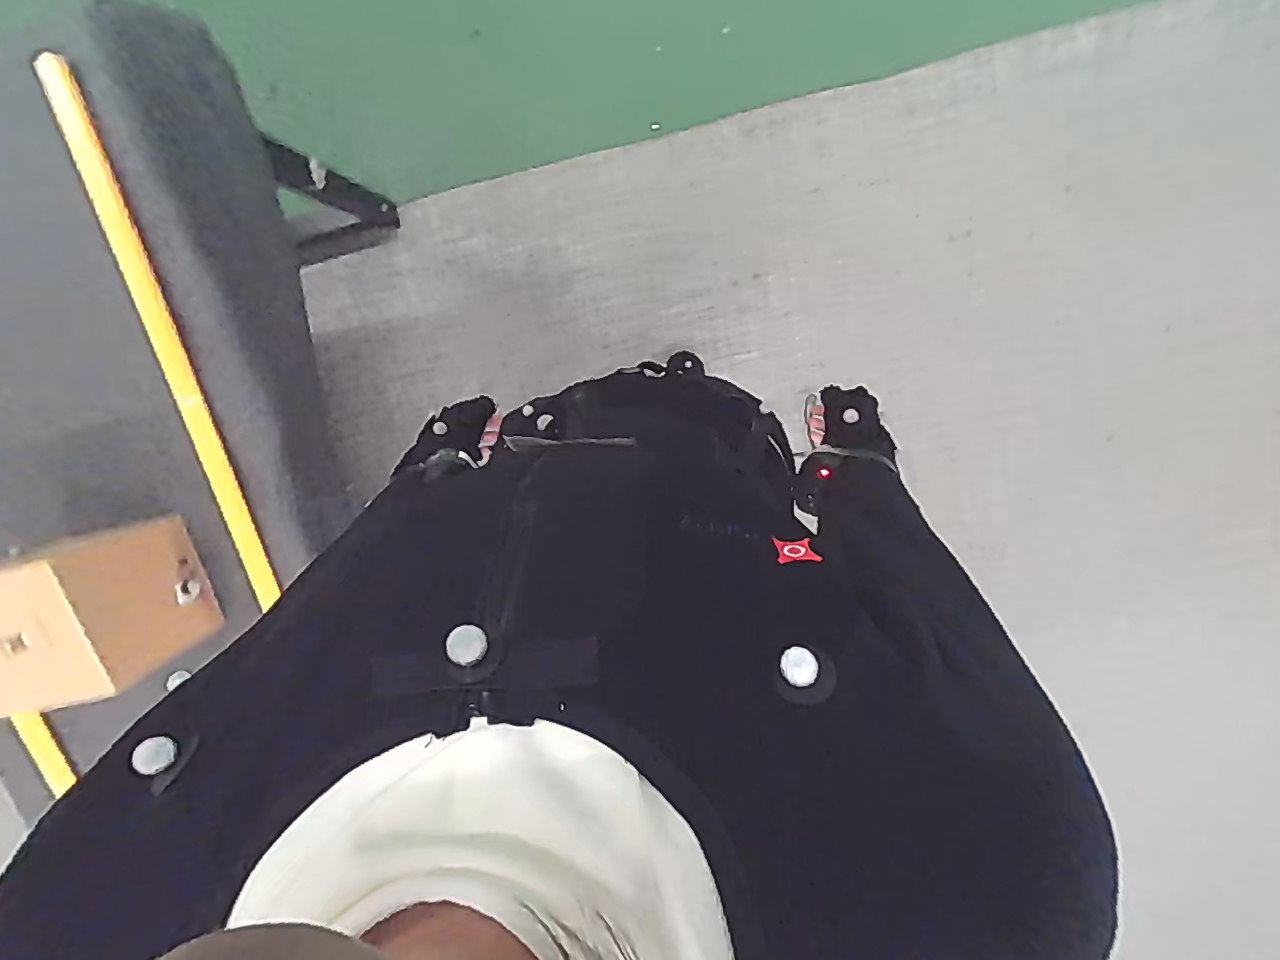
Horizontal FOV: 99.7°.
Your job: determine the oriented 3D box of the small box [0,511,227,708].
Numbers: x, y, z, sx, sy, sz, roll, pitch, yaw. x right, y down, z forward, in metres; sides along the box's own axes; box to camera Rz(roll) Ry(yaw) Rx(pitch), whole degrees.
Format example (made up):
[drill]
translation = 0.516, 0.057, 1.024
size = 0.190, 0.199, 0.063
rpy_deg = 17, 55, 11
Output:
[small box]
translation = -0.683, 0.152, 0.677
size = 0.179, 0.176, 0.168
rpy_deg = -13, 104, 5
